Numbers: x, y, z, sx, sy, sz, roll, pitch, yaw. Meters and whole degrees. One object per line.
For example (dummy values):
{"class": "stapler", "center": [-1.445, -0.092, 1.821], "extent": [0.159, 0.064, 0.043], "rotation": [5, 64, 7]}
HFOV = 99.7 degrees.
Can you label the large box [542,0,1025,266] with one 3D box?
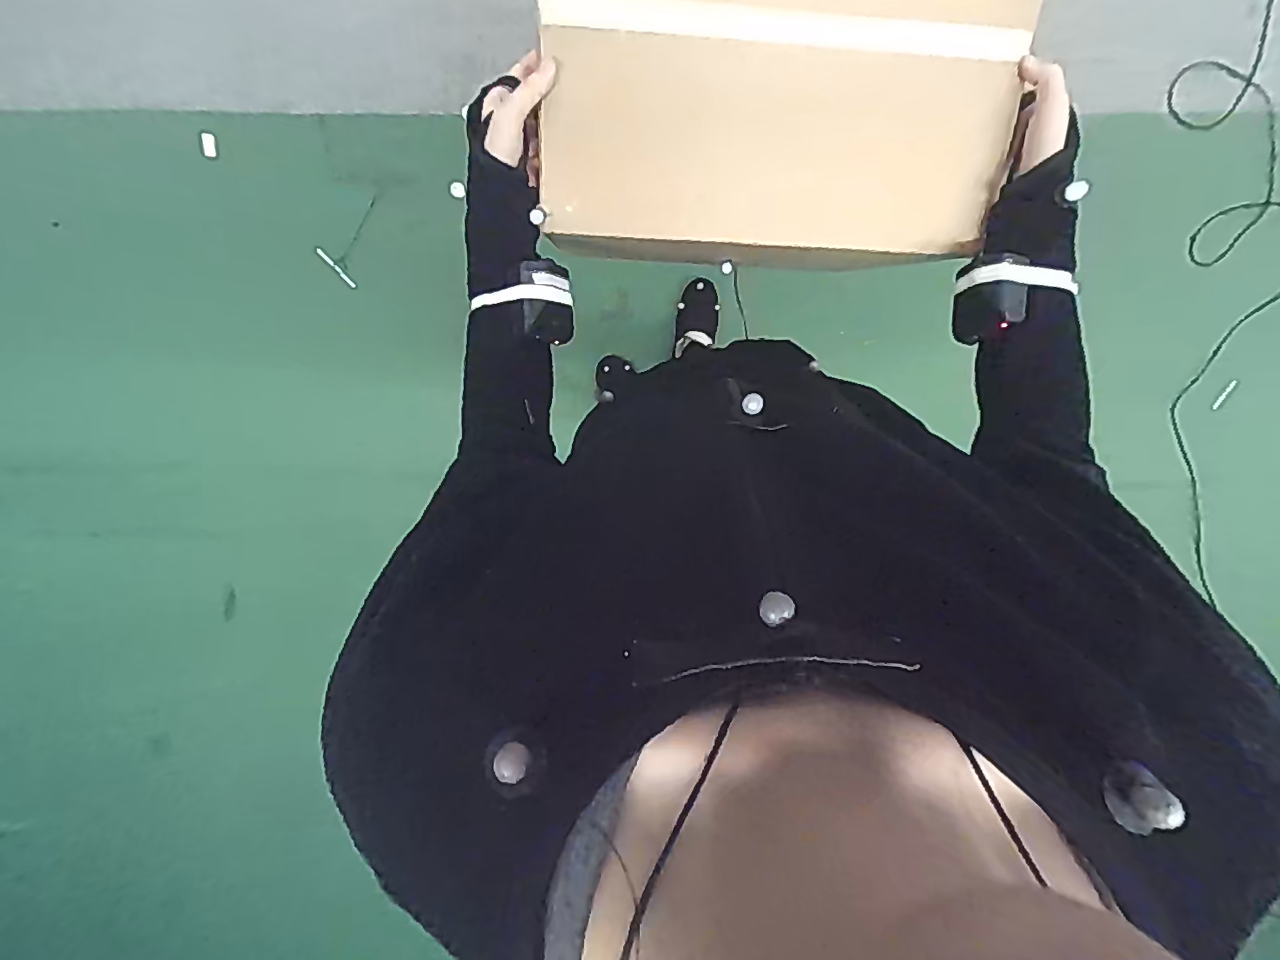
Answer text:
{"class": "large box", "center": [0.113, -0.408, 0.591], "extent": [0.408, 0.320, 0.320], "rotation": [1, 108, -4]}
